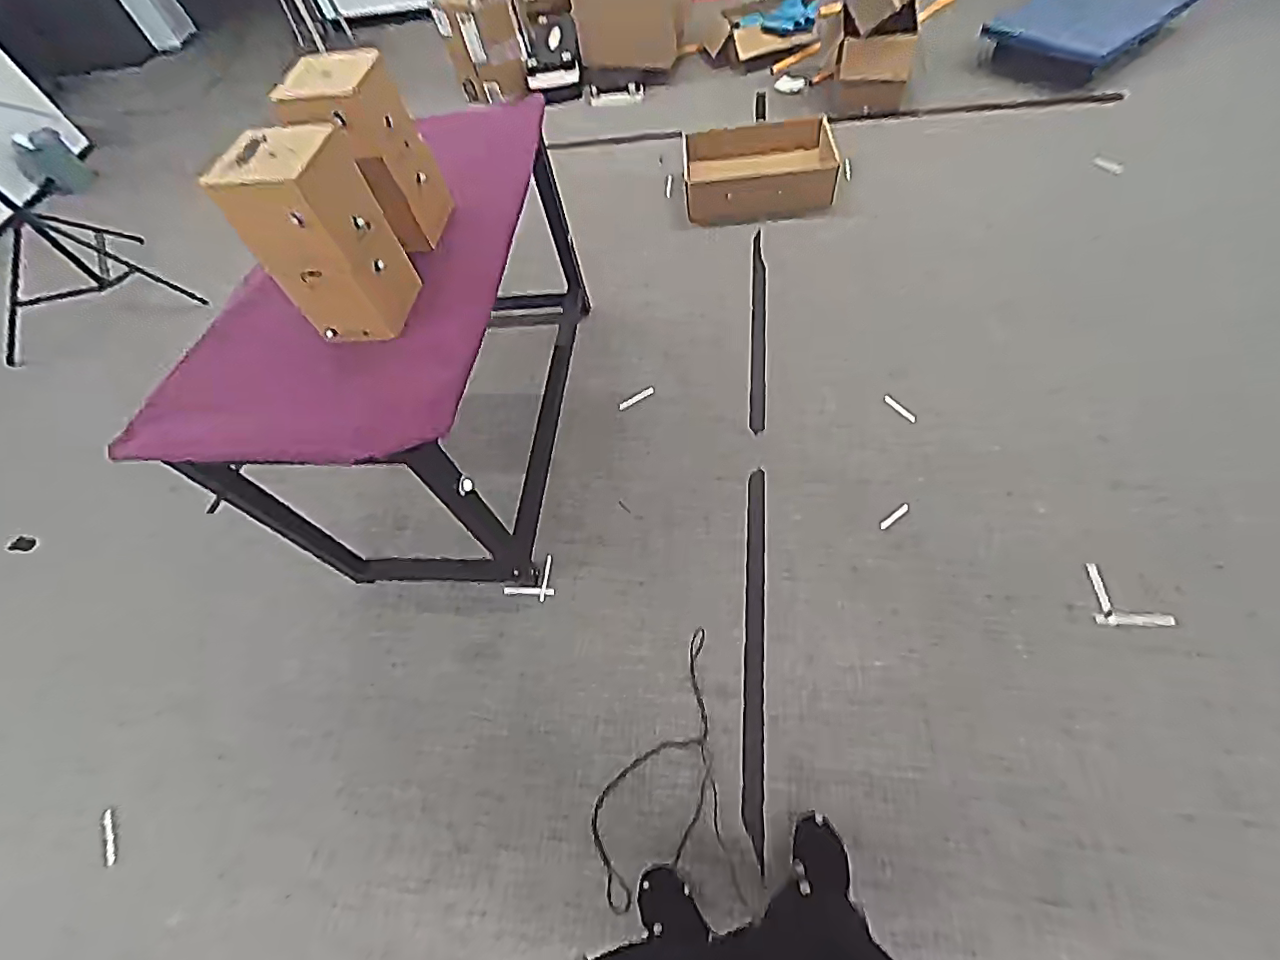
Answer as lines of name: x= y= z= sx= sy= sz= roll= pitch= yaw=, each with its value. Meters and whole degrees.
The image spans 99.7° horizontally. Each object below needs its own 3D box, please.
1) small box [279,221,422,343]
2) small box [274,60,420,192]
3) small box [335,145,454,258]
small box: x=-0.574 y=-0.396 z=1.102 sx=0.168 sy=0.176 sz=0.179 roll=1 pitch=58 yaw=9
small box: x=-0.586 y=-0.719 z=1.109 sx=0.179 sy=0.176 sz=0.168 roll=1 pitch=59 yaw=10
small box: x=-0.555 y=-0.639 z=1.251 sx=0.168 sy=0.176 sz=0.179 roll=1 pitch=59 yaw=10
